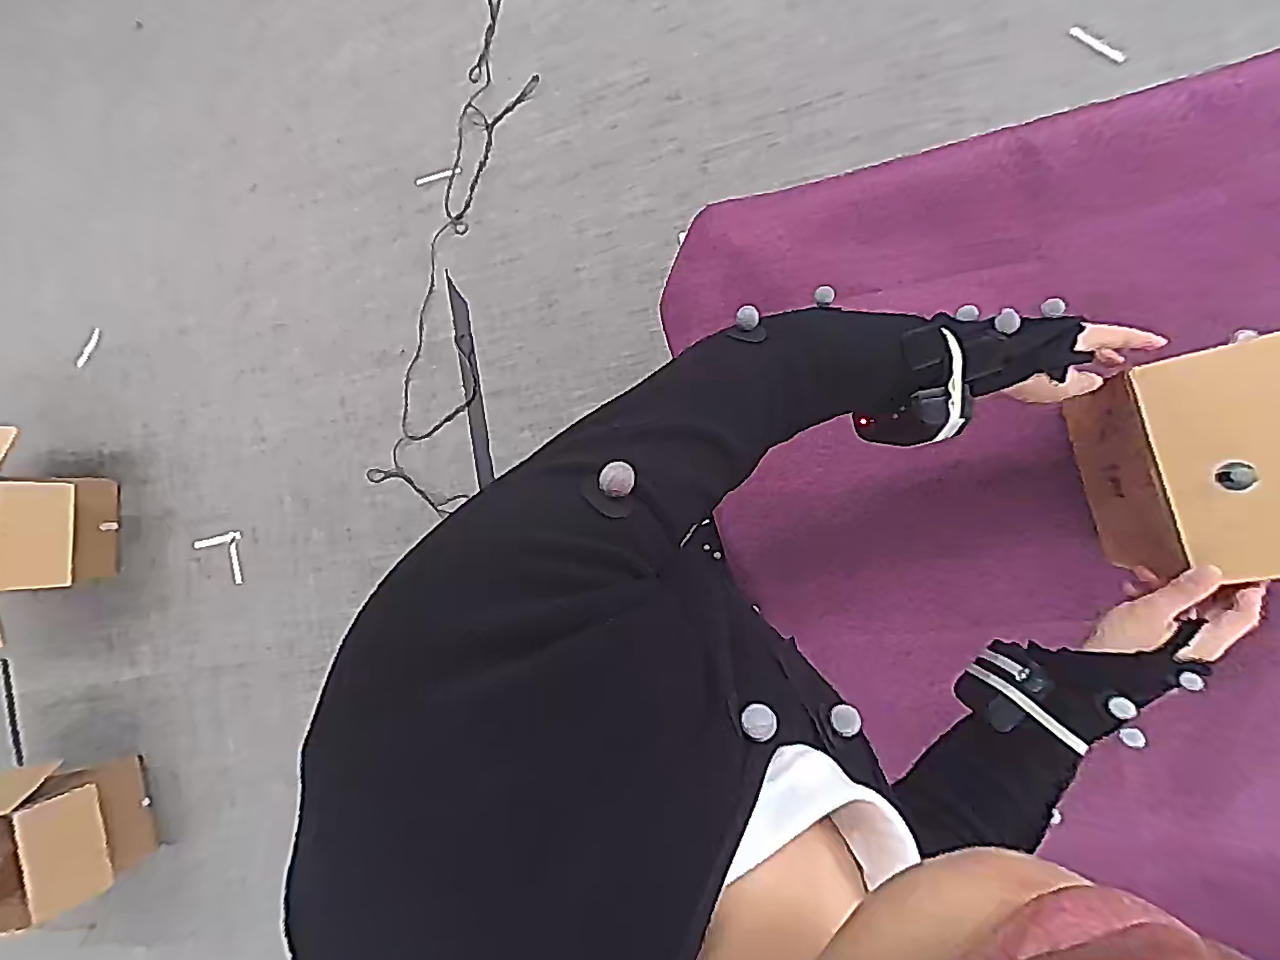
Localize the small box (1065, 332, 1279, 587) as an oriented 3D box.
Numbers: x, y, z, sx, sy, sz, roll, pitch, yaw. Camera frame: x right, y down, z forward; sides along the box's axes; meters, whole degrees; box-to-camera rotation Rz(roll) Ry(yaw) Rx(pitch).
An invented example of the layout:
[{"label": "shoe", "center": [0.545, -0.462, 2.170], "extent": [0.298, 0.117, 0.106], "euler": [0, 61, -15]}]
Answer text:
[{"label": "small box", "center": [0.503, -0.021, 0.452], "extent": [0.176, 0.168, 0.179], "euler": [-14, 83, 22]}]
